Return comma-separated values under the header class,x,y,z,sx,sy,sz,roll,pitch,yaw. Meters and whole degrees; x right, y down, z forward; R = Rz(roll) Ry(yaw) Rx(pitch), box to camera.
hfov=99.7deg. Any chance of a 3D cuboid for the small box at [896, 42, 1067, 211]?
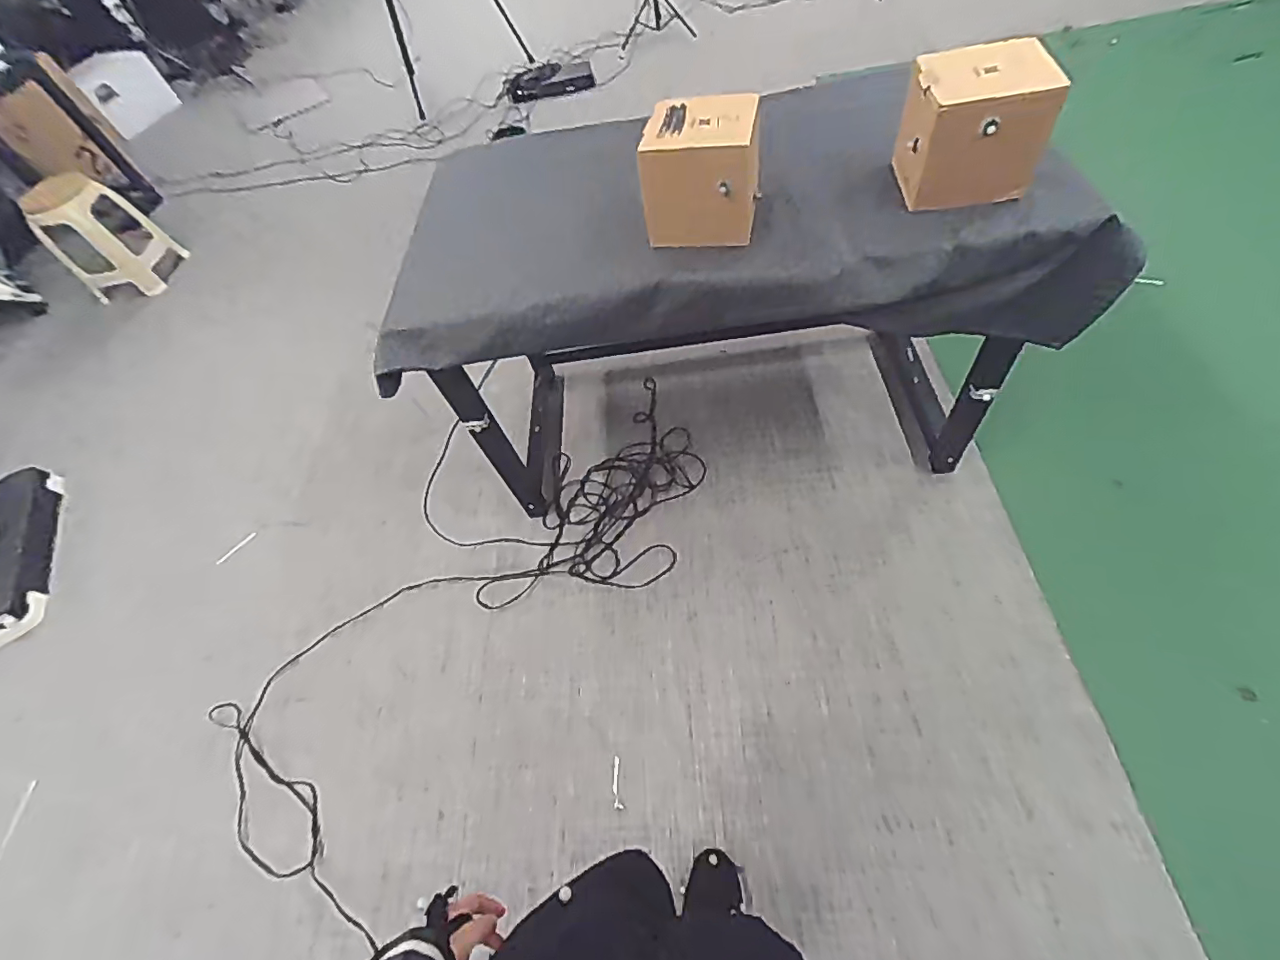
class,x,y,z,sx,sy,sz,roll,pitch,yaw
small box,0.526,-0.558,0.869,0.179,0.176,0.168,-2,58,10
